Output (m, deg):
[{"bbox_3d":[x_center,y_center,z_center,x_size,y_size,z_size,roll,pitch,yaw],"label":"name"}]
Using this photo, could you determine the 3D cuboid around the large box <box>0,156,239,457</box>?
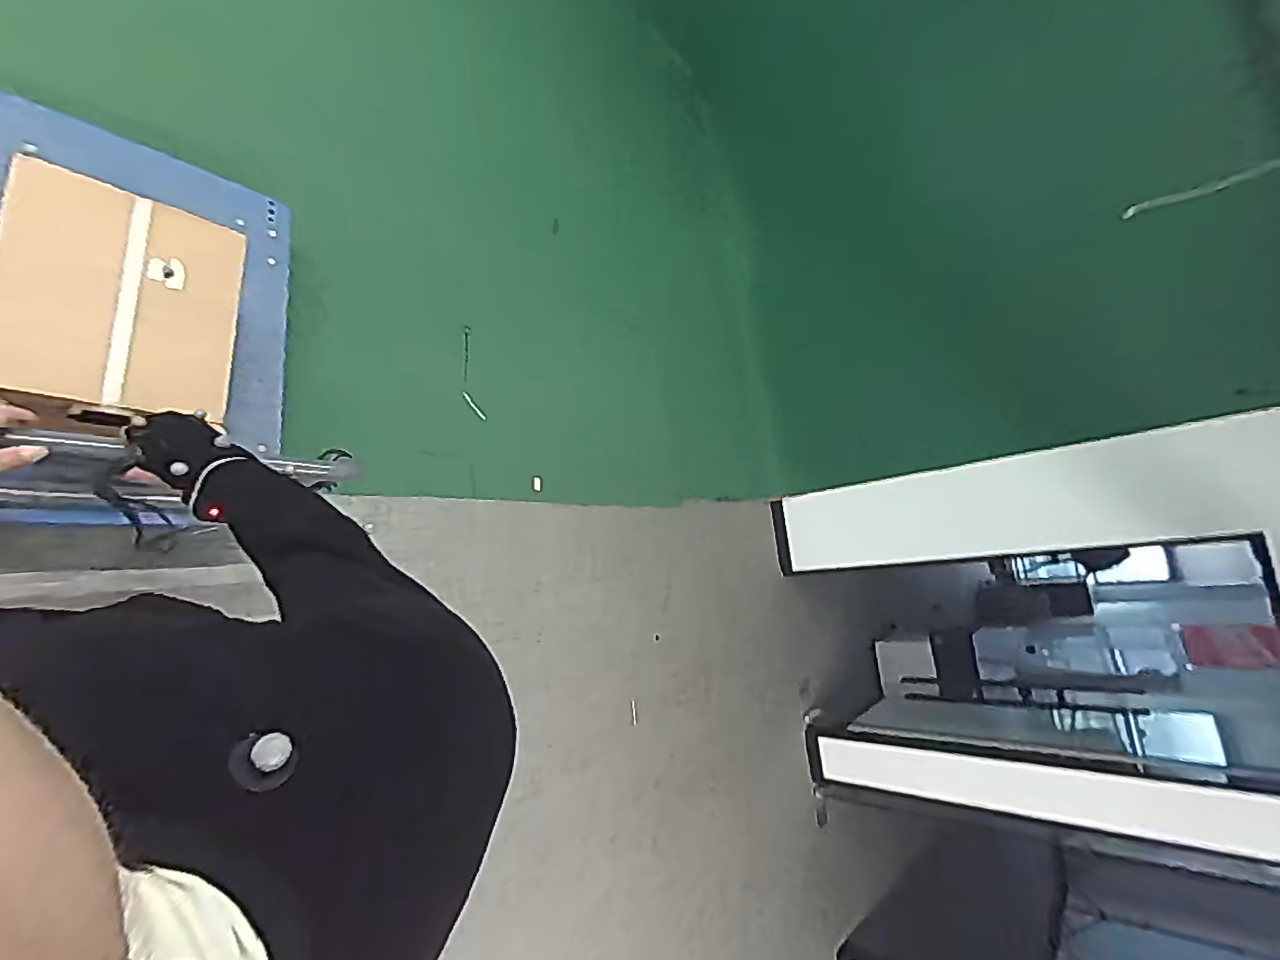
[{"bbox_3d":[-1.005,-0.284,1.035,0.320,0.320,0.408,11,70,-46],"label":"large box"}]
